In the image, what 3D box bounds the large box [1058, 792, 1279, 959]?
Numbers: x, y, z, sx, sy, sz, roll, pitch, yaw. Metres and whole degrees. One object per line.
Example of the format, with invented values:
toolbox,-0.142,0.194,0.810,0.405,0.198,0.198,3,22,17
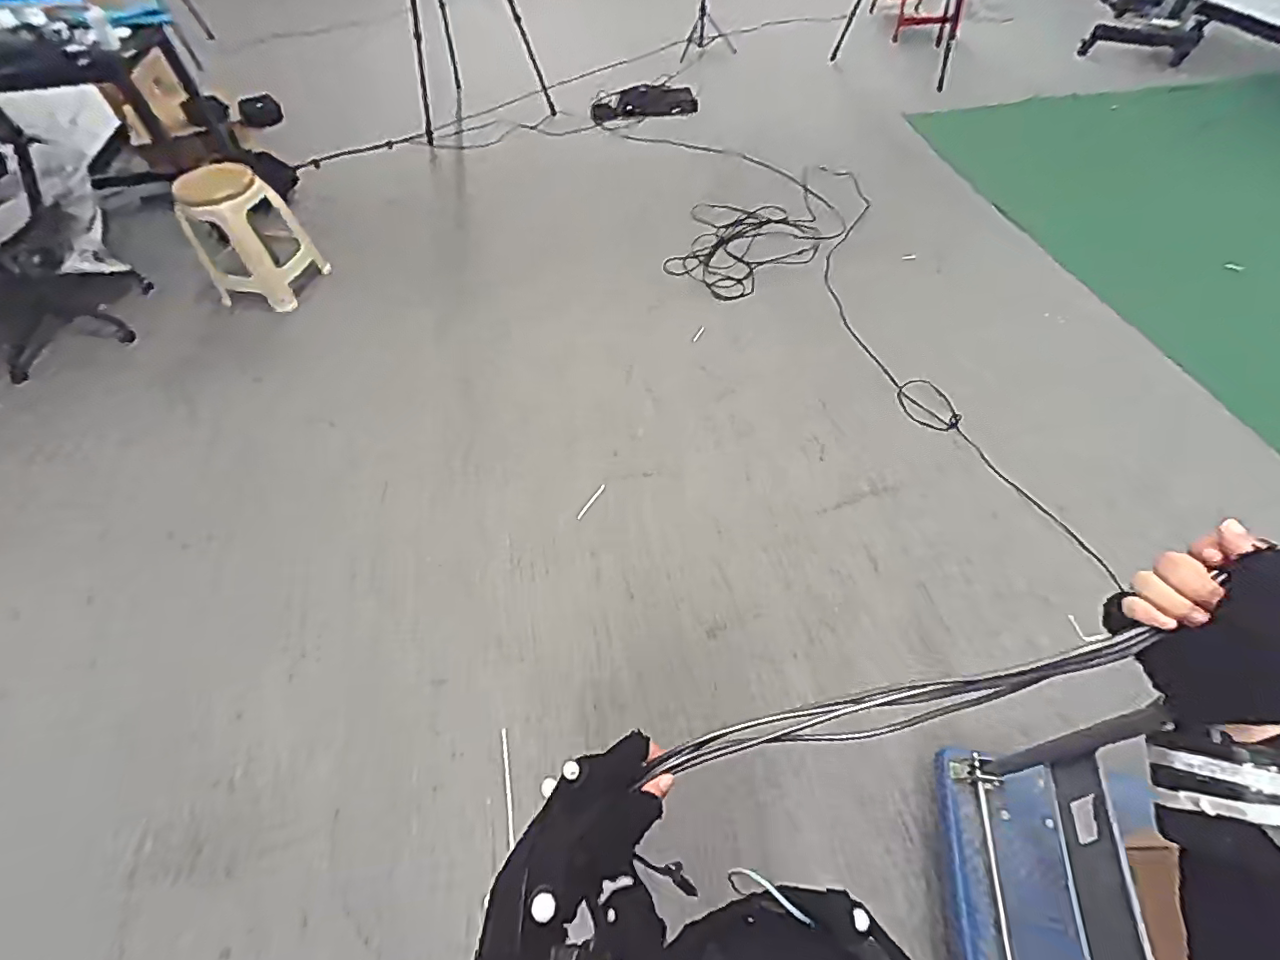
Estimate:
large box,0.977,0.740,0.819,0.320,0.320,0.408,-11,54,-5
